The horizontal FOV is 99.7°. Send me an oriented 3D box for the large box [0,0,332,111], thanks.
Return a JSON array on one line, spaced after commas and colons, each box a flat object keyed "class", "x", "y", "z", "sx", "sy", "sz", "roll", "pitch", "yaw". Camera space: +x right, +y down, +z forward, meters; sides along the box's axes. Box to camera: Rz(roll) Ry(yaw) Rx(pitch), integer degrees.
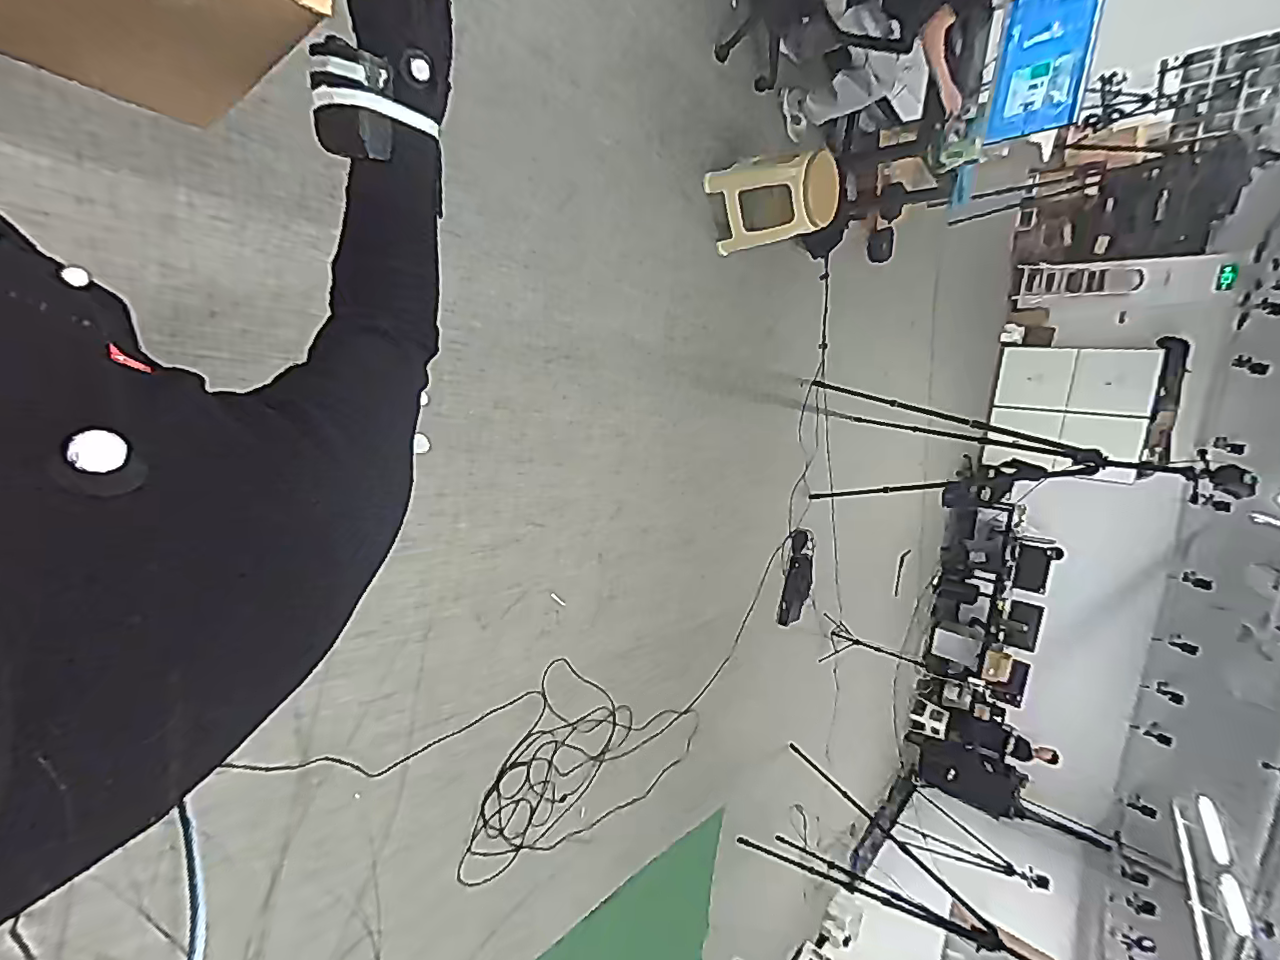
[{"class": "large box", "x": -0.423, "y": -0.474, "z": 0.271, "sx": 0.408, "sy": 0.320, "sz": 0.320, "roll": -3, "pitch": 104, "yaw": -51}]
